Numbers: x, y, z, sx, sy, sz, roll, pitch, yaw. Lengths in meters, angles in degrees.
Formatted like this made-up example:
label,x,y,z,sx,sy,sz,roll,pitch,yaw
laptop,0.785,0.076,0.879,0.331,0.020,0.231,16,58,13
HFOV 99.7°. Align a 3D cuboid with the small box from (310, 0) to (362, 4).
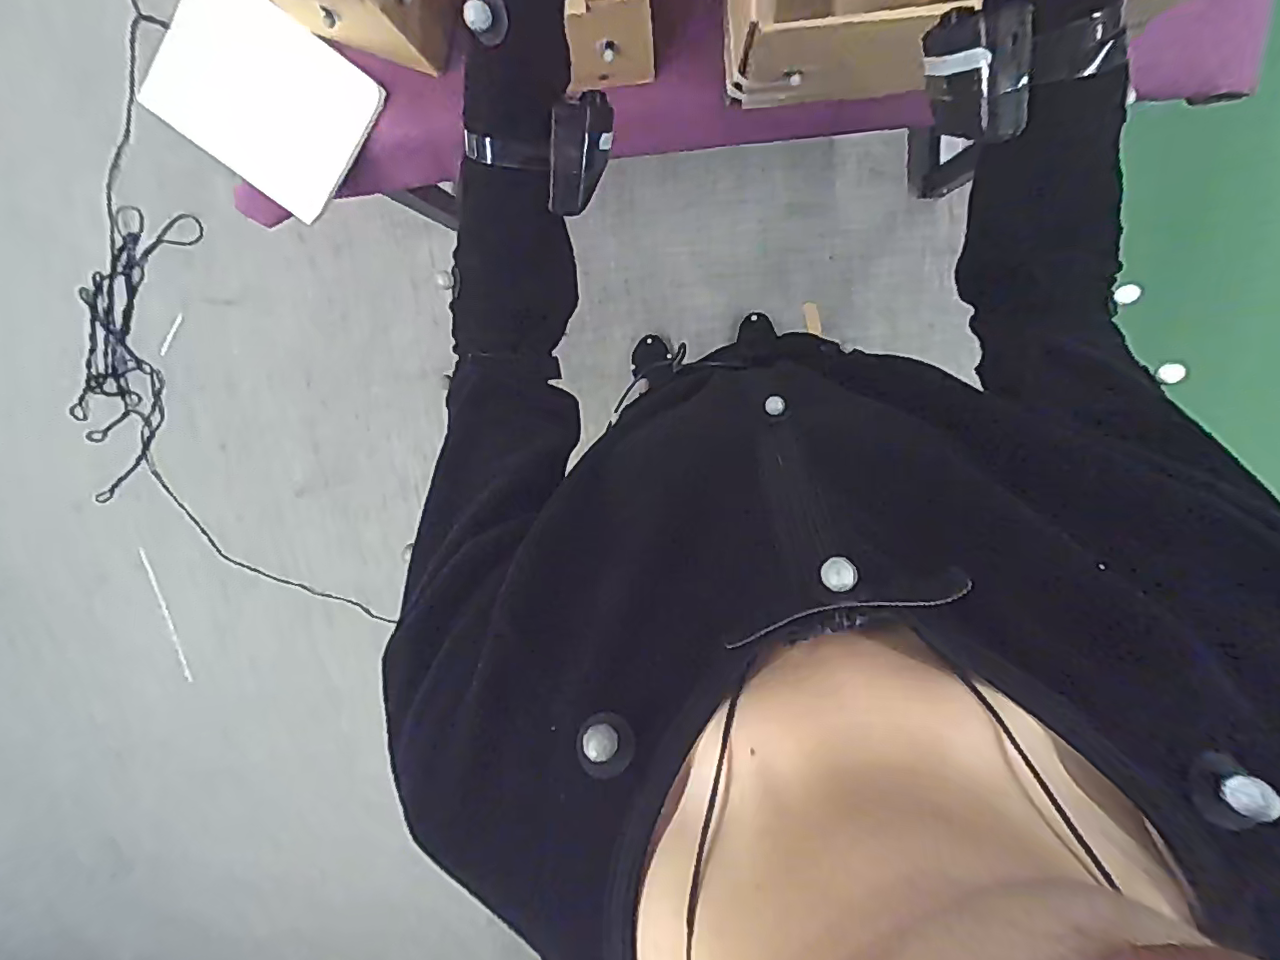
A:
label,x,y,z,sx,sy,sz,roll,pitch,yaw
small box,-0.320,-0.523,0.425,0.179,0.176,0.168,10,104,2
